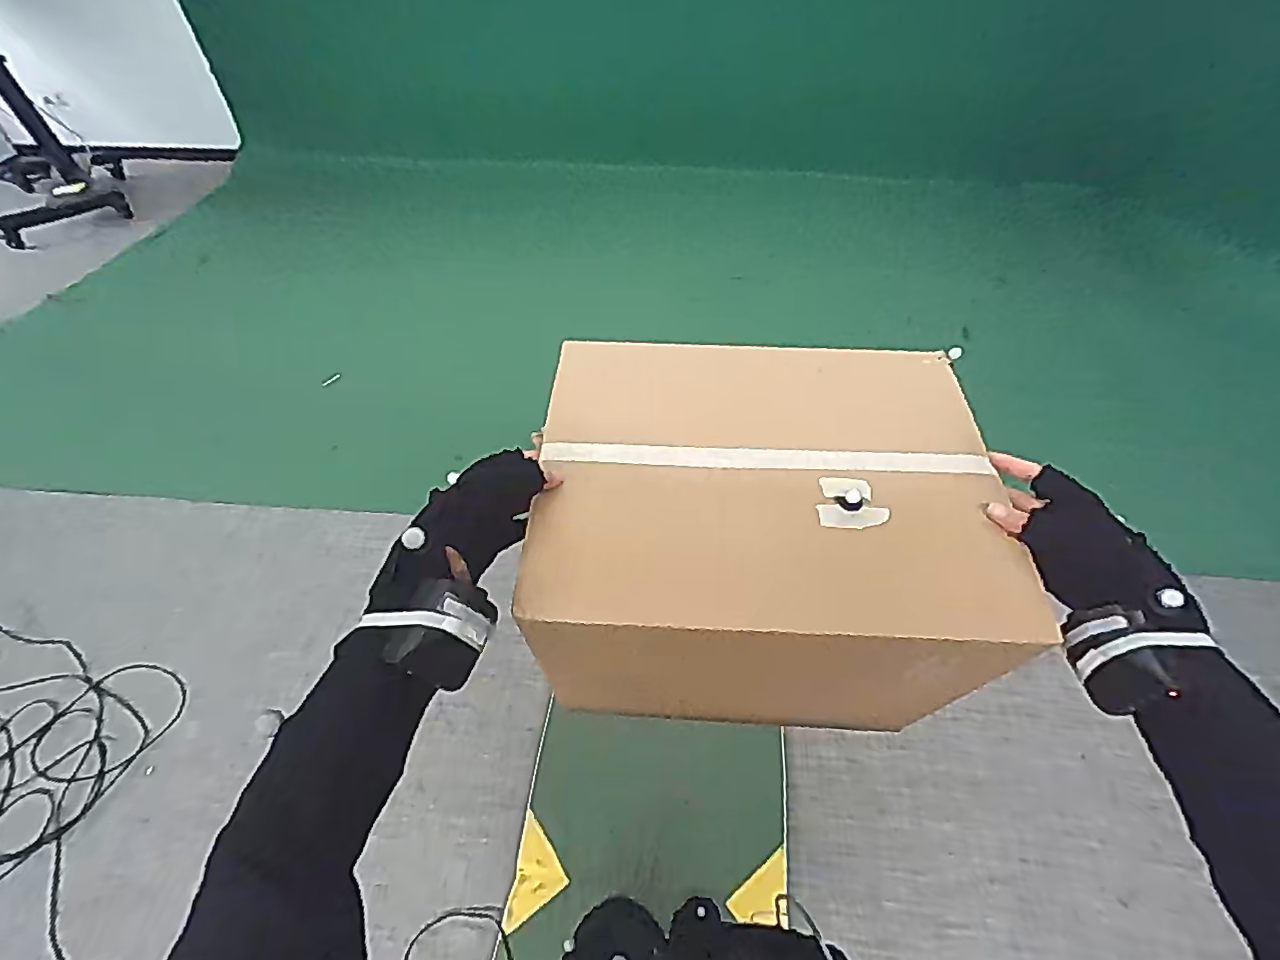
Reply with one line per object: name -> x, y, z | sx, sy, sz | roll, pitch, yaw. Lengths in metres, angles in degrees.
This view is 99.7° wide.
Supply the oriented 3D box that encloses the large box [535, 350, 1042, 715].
large box -> 0.115, 0.072, 0.624 | 0.408, 0.320, 0.320 | 2, 55, 1
